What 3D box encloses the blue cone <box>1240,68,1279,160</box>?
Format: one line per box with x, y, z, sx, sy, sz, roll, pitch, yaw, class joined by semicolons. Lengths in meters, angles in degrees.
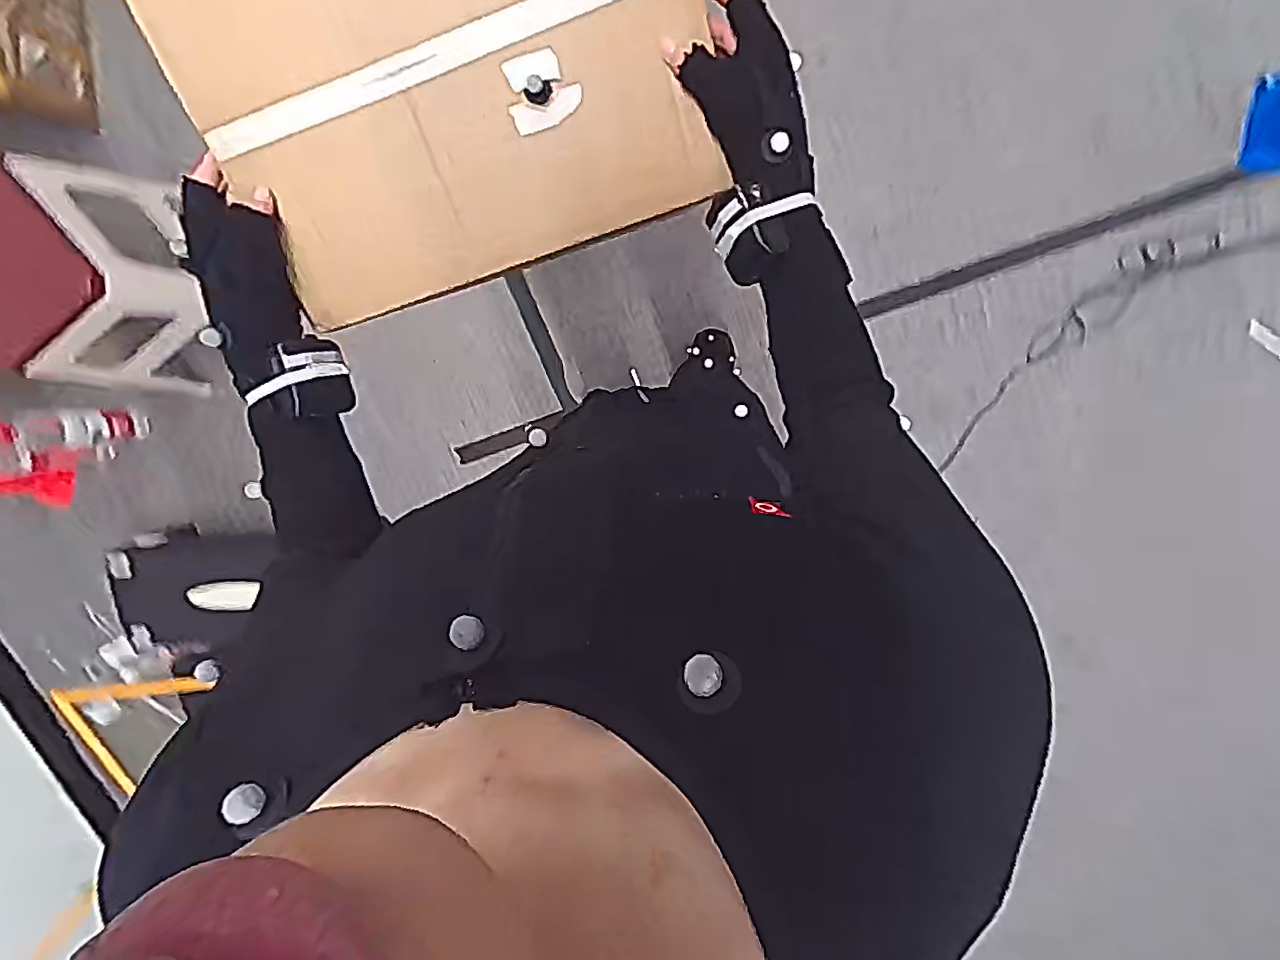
1.495;-0.811;1.087;0.192;0.380;0.193;1;102;2;blue cone
